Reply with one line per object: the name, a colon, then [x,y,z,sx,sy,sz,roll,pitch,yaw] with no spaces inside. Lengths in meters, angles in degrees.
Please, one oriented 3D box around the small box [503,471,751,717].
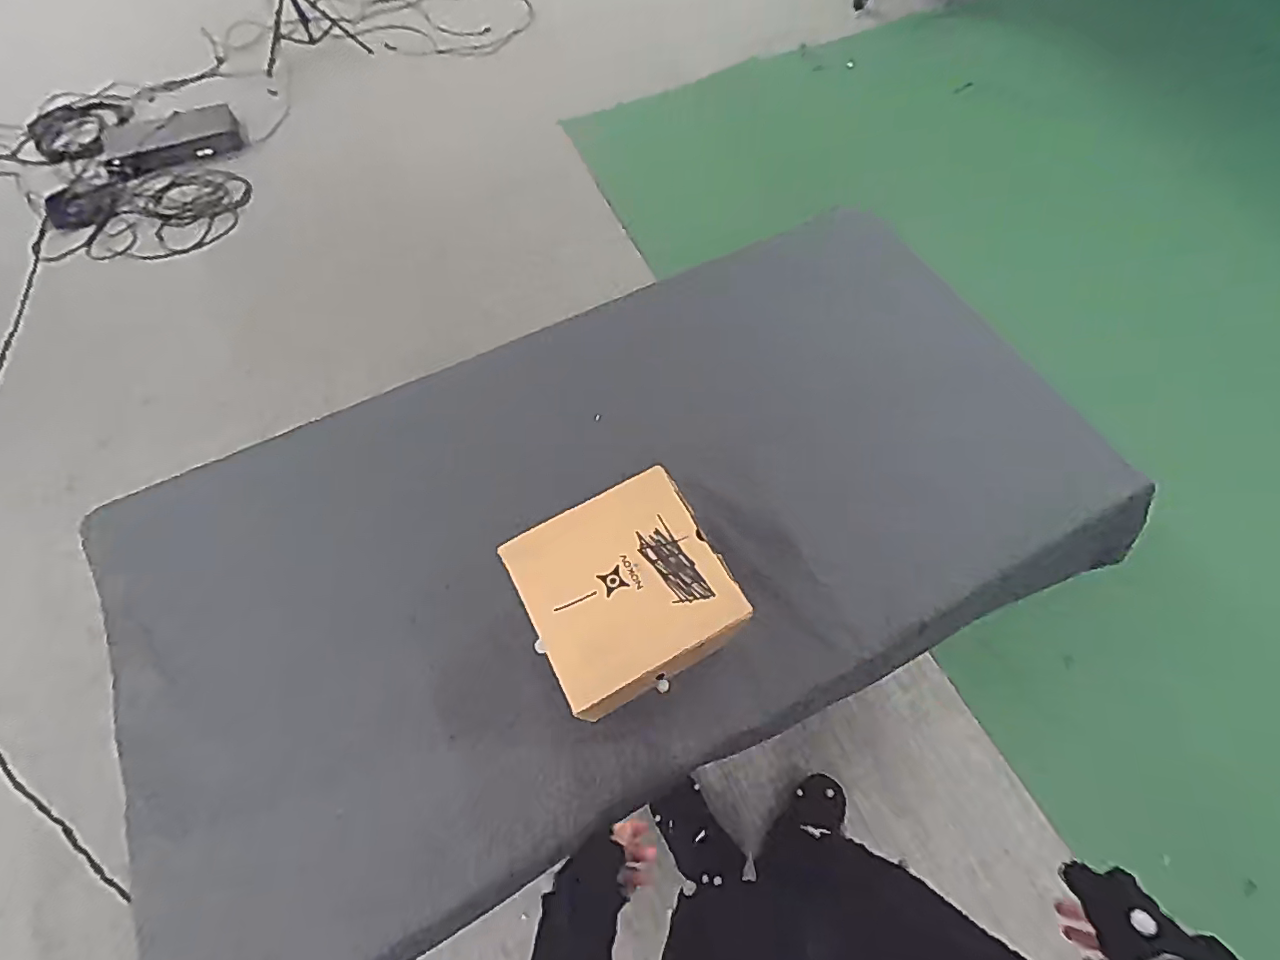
small box: [-0.014,0.123,0.556,0.179,0.176,0.168,-27,67,-11]
